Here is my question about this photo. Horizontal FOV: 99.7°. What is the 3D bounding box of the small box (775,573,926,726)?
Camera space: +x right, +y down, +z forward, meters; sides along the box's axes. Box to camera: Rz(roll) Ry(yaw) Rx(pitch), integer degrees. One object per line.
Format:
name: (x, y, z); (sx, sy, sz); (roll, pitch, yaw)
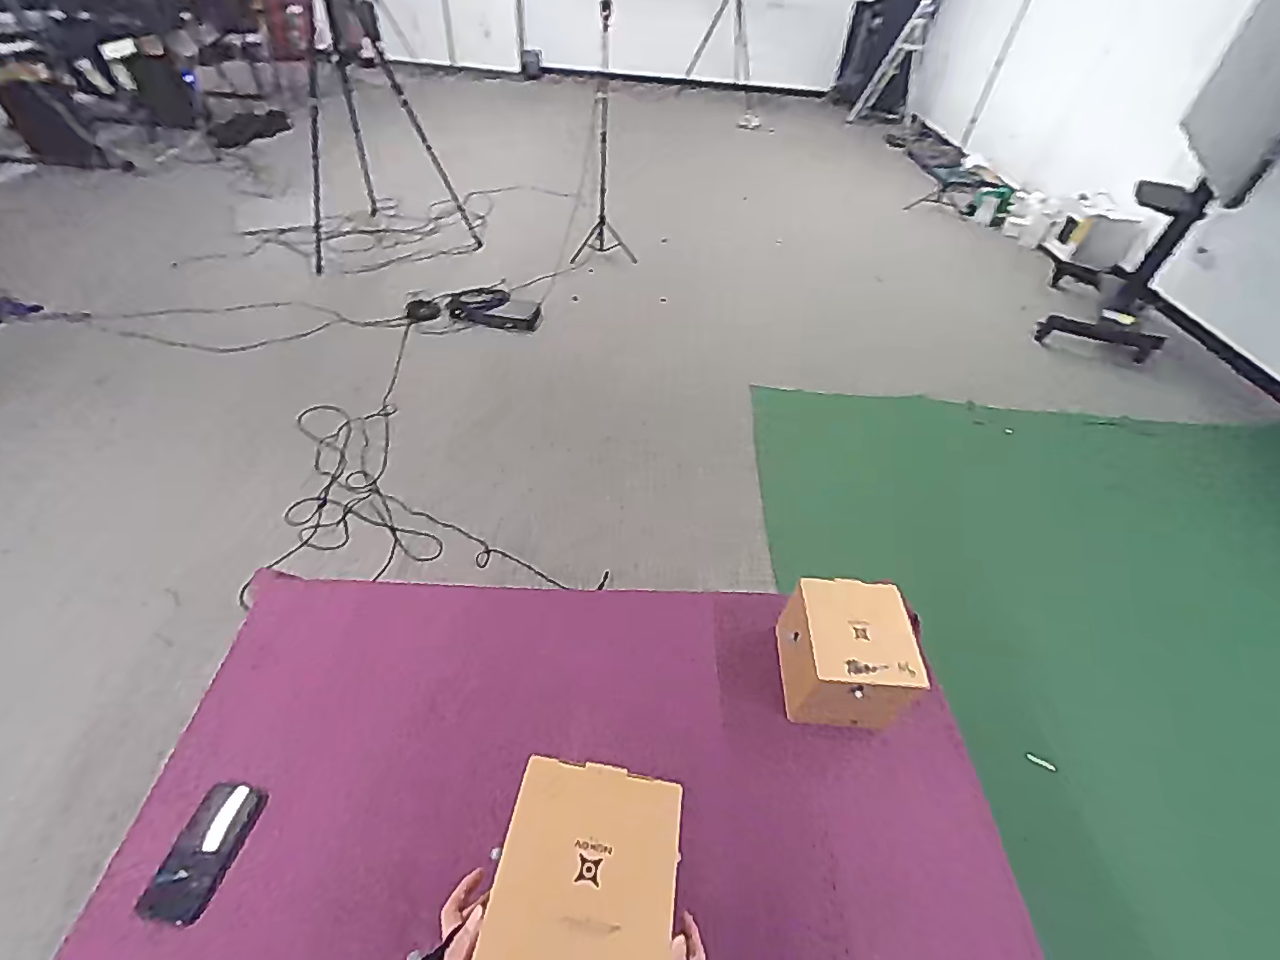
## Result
small box: (0.327, 0.276, 0.884); (0.168, 0.176, 0.179); (4, 45, 0)

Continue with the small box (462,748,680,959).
small box: (-0.062, 0.407, 0.540); (0.168, 0.176, 0.179); (11, 40, 2)
